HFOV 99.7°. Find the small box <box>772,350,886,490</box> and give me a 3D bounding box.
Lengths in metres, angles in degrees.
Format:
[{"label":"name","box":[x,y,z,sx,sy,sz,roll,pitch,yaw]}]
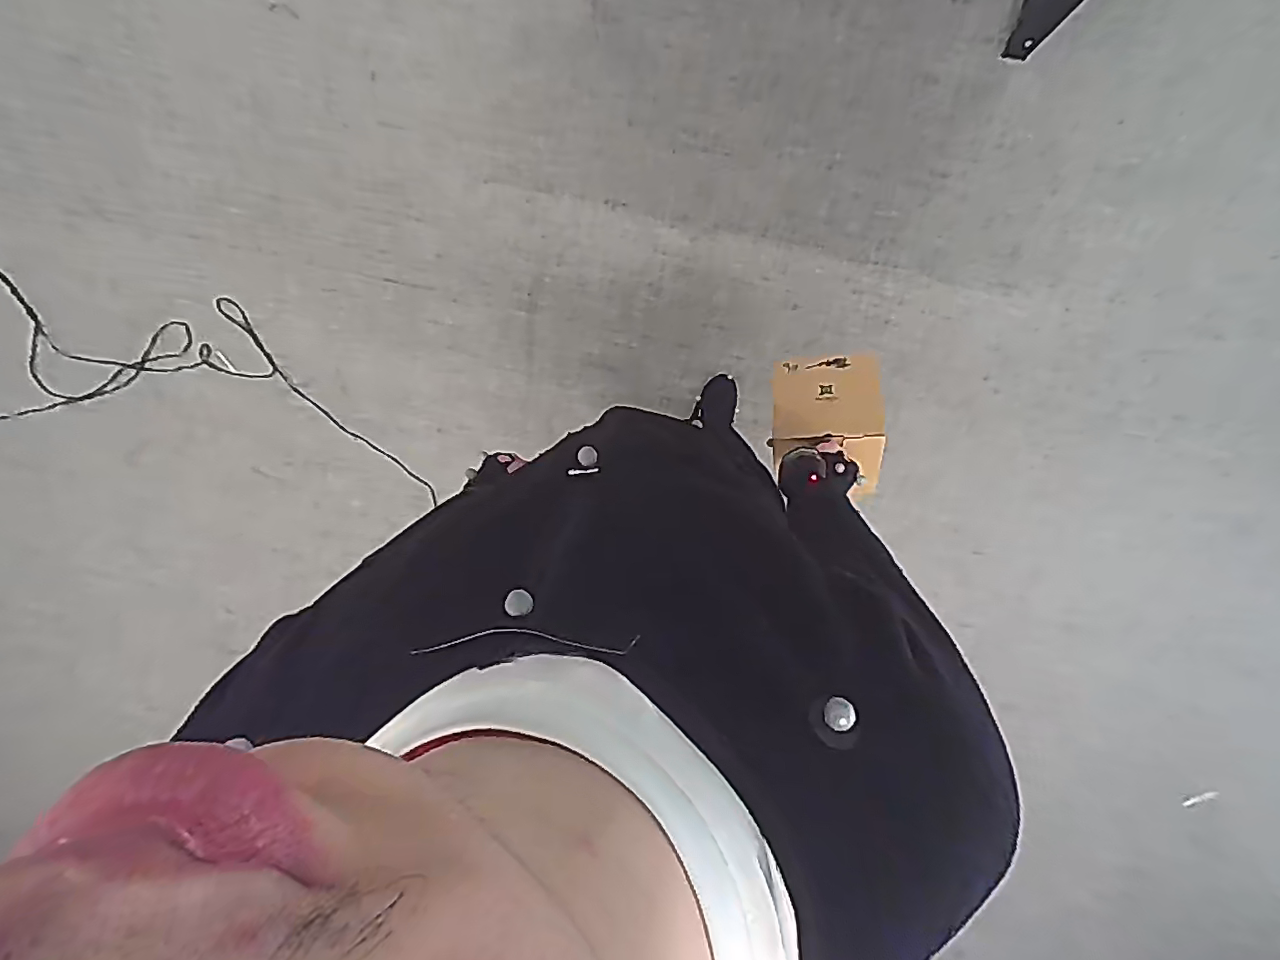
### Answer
[{"label":"small box","box":[0.321,-0.092,0.931,0.168,0.176,0.179,-5,57,17]}]
